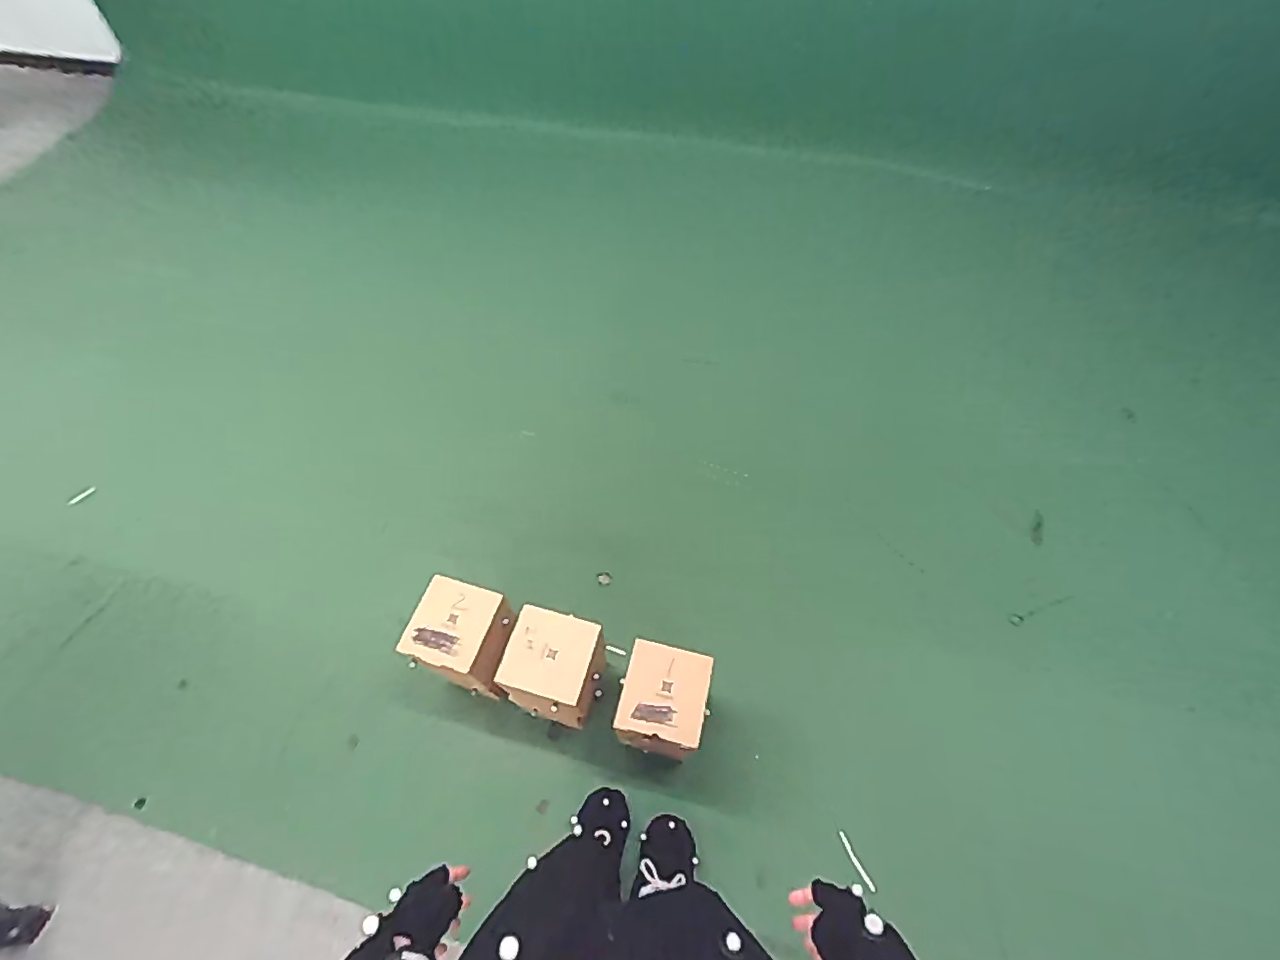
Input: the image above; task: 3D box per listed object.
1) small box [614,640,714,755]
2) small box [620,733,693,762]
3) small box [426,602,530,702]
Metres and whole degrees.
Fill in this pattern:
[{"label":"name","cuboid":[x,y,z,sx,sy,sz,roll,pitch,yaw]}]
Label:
[{"label":"small box","cuboid":[0.052,0.460,1.130,0.168,0.176,0.179,12,60,8]},{"label":"small box","cuboid":[0.054,0.544,1.272,0.168,0.176,0.179,13,61,8]},{"label":"small box","cuboid":[-0.392,0.434,1.349,0.168,0.176,0.179,16,61,11]}]
